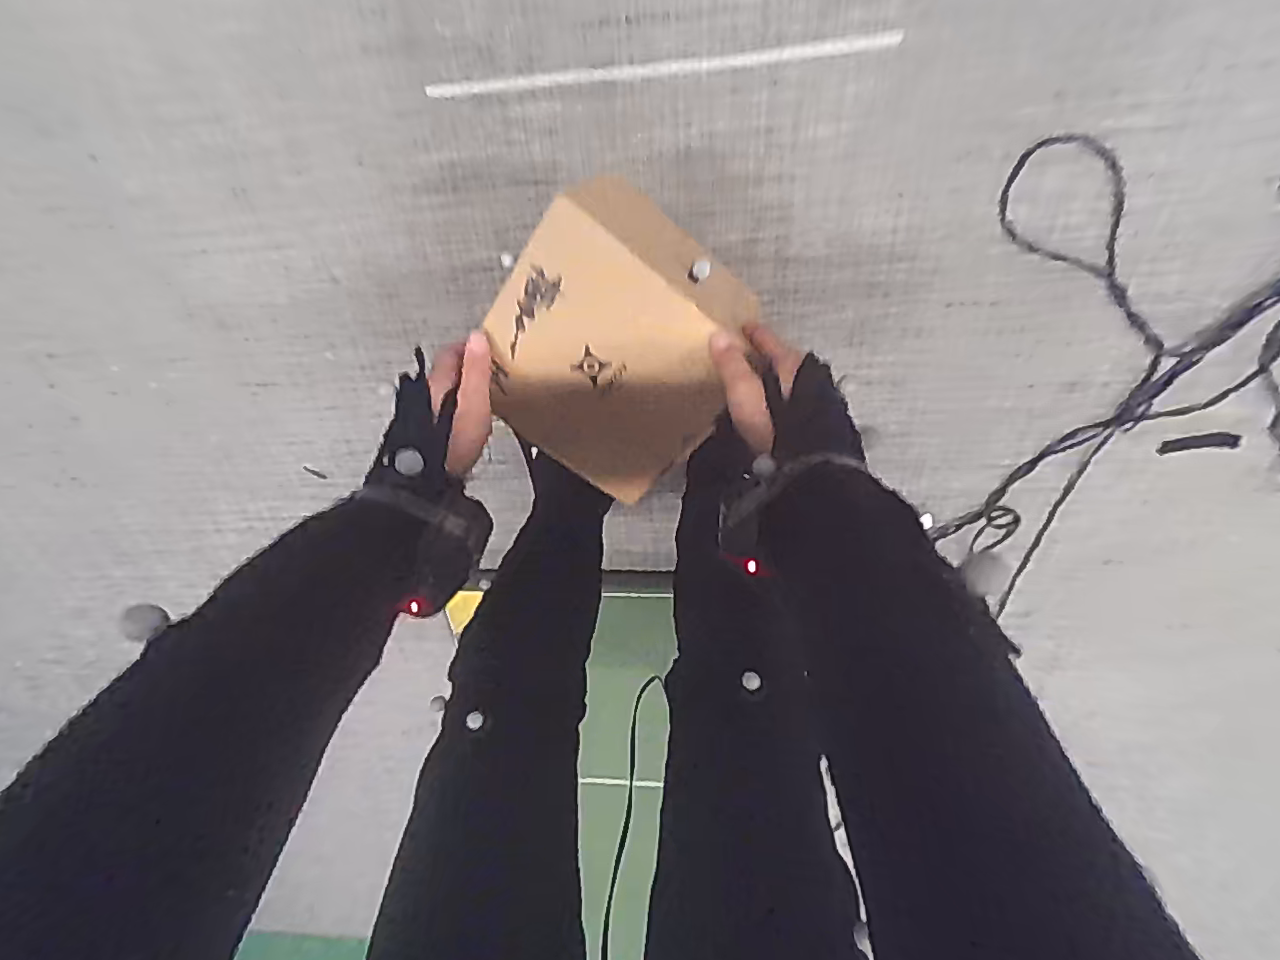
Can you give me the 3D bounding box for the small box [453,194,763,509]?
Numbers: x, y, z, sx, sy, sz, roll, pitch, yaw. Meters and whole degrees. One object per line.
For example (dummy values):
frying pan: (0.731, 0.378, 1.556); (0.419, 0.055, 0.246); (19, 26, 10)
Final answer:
small box: (-0.017, -0.115, 0.460); (0.179, 0.176, 0.168); (35, 121, -14)
